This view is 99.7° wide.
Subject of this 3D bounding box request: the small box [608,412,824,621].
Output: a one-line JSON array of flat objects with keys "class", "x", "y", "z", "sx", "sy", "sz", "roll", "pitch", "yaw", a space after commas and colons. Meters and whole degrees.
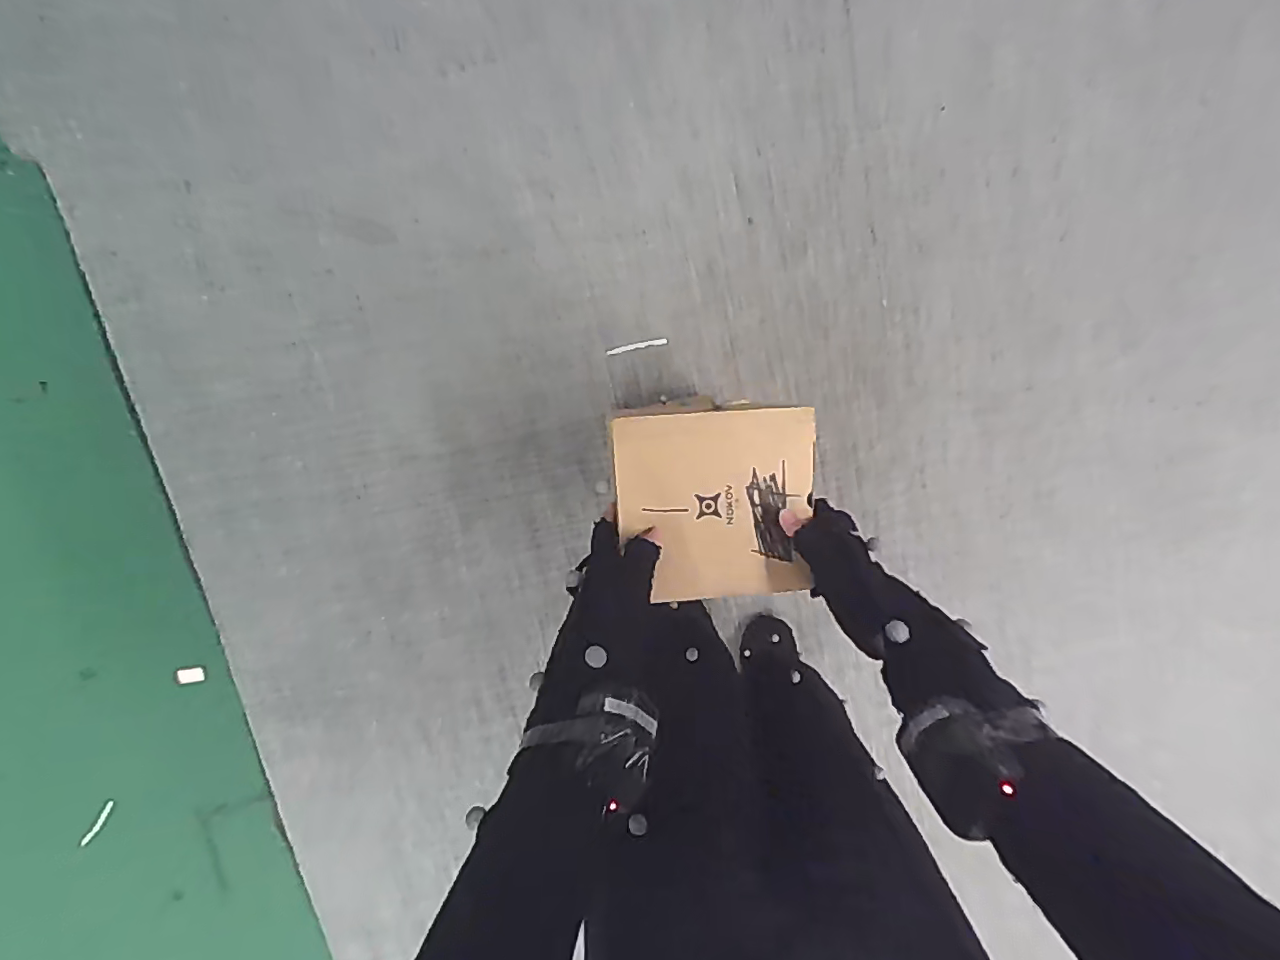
[{"class": "small box", "x": 0.065, "y": 0.022, "z": 0.546, "sx": 0.179, "sy": 0.176, "sz": 0.168, "roll": -7, "pitch": 99, "yaw": -4}]
